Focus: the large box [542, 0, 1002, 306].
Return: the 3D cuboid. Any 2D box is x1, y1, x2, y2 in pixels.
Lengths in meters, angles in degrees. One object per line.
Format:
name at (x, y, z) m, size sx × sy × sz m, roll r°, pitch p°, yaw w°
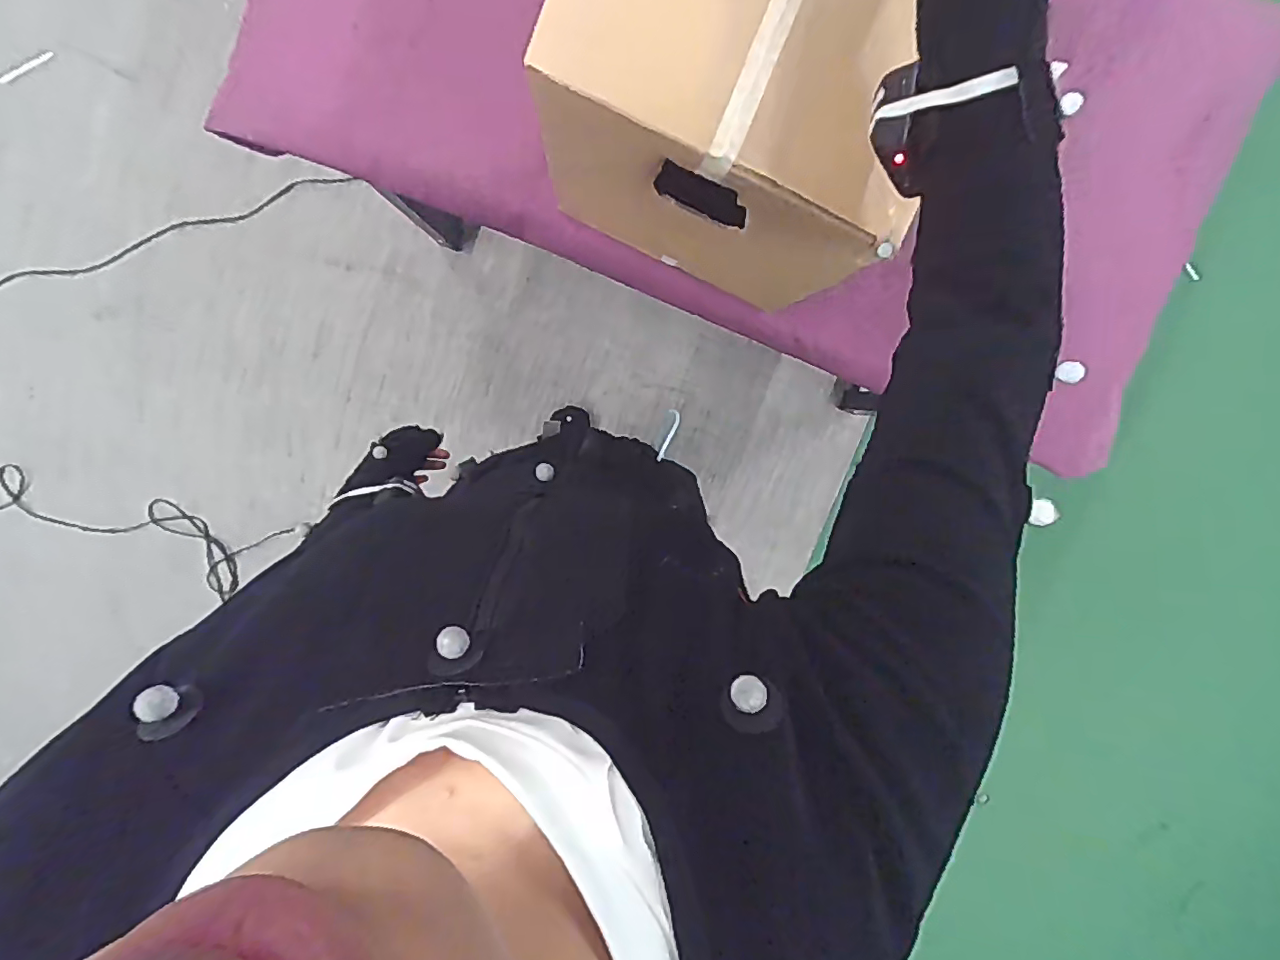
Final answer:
large box at (0.128, -0.447, 0.549) m, size 0.320 × 0.320 × 0.408 m, roll 23°, pitch 97°, yaw -7°
